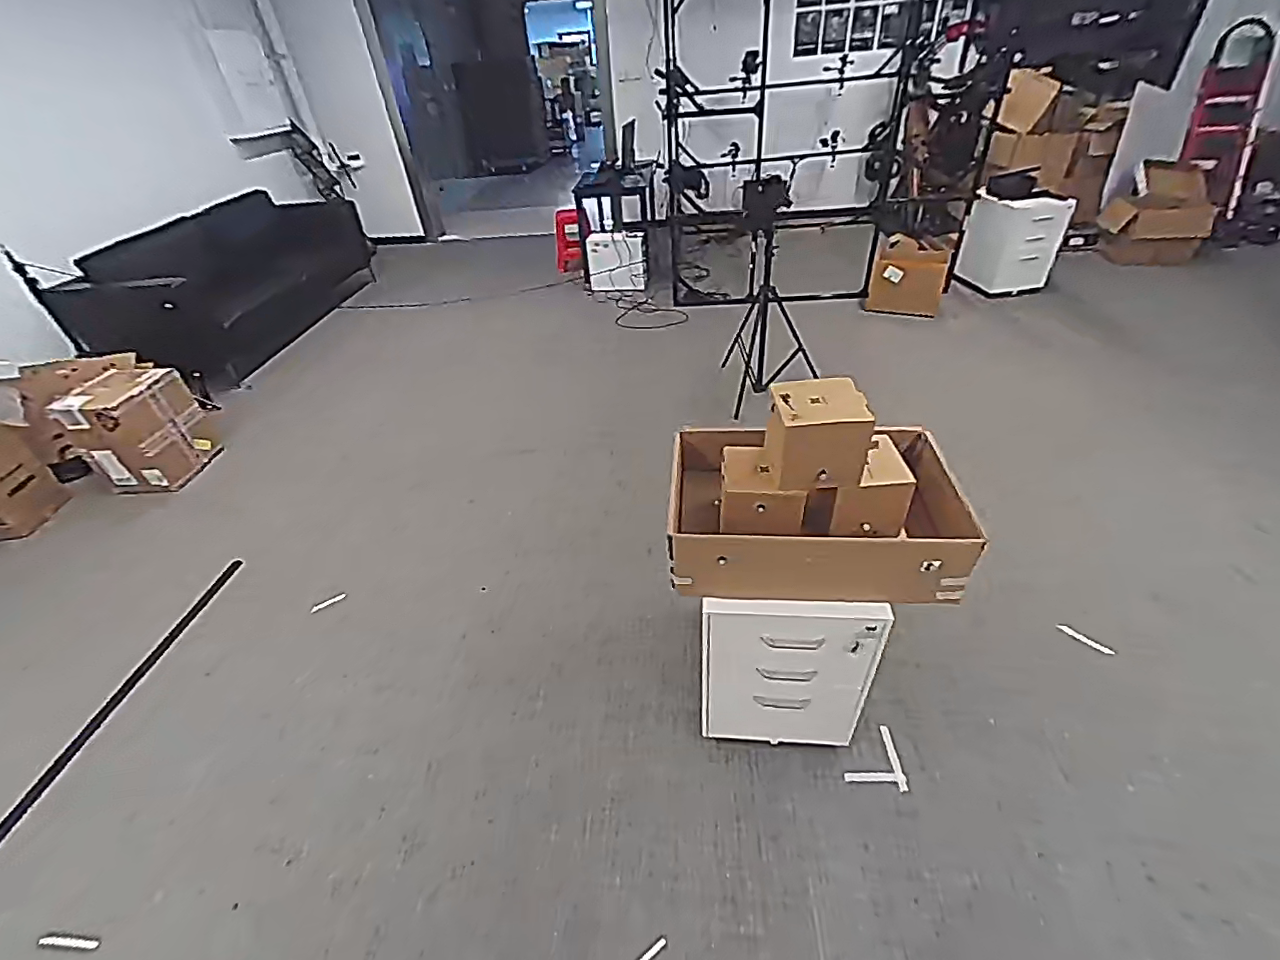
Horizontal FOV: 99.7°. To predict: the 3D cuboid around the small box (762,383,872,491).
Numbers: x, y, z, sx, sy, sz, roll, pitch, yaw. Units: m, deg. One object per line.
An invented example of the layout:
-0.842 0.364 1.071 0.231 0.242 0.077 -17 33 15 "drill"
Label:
0.367 -0.090 1.156 0.179 0.176 0.168 -3 40 2 "small box"
